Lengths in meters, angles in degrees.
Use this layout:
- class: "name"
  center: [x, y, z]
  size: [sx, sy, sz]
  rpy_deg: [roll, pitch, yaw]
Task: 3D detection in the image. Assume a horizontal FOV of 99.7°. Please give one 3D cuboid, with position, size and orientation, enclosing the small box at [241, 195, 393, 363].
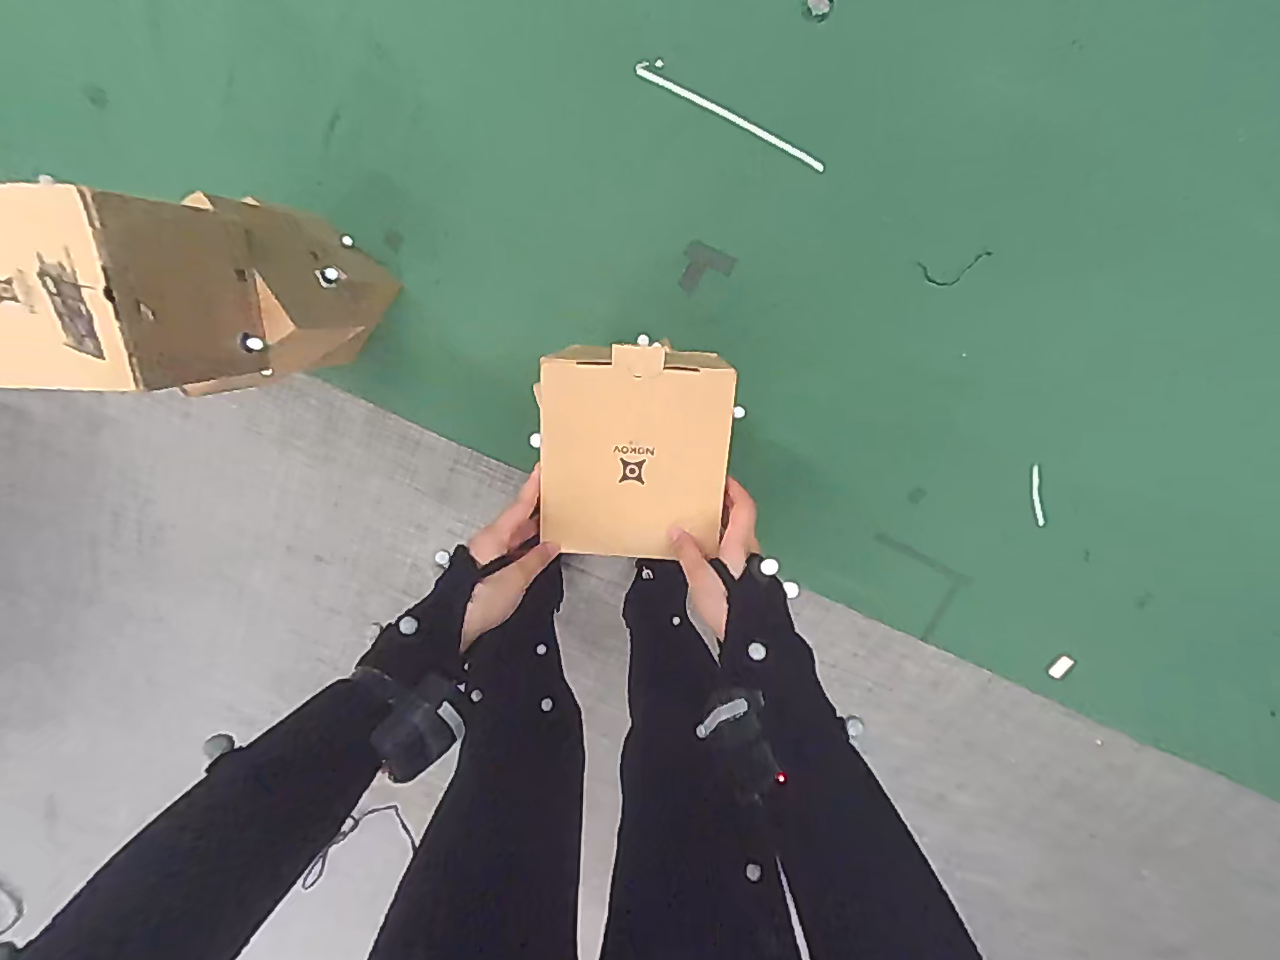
- class: "small box"
  center: [-0.519, -0.294, 0.832]
  size: [0.168, 0.176, 0.179]
  rpy_deg: [40, 105, -10]

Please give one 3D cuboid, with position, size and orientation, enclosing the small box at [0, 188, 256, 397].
- class: "small box"
  center: [-0.515, -0.180, 0.526]
  size: [0.179, 0.176, 0.168]
  rpy_deg: [2, 109, 3]

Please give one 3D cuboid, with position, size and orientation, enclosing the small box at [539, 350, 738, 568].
- class: "small box"
  center: [-0.001, -0.032, 0.543]
  size: [0.168, 0.176, 0.179]
  rpy_deg: [4, 107, 2]

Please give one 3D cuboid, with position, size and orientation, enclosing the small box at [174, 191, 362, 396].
- class: "small box"
  center: [-0.500, -0.227, 0.683]
  size: [0.179, 0.176, 0.168]
  rpy_deg: [-27, 106, 10]
